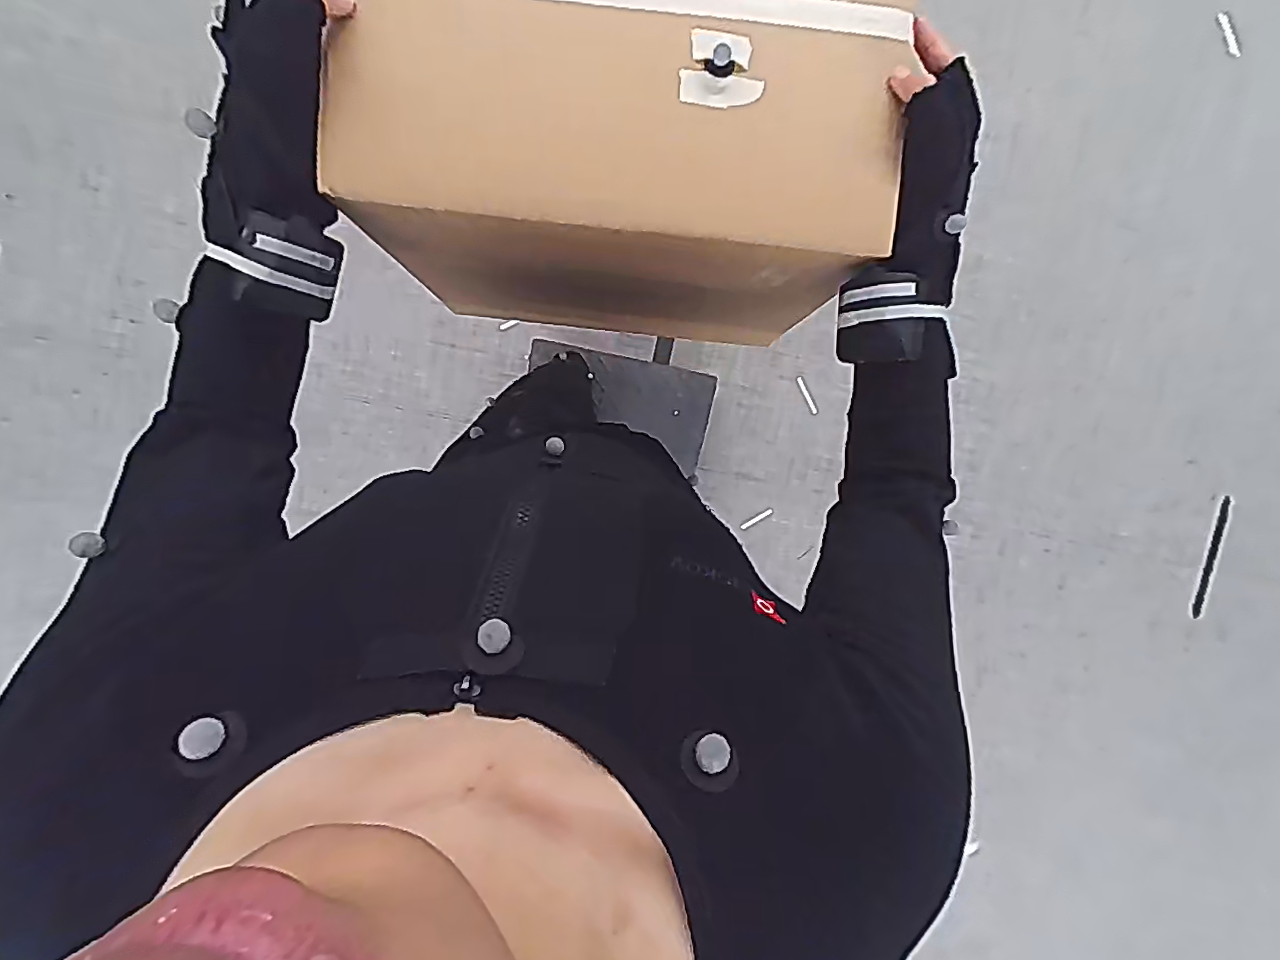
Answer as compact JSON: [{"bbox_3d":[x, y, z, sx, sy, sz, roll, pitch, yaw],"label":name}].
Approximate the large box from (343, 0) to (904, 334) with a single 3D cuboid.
[{"bbox_3d":[-0.014,-0.348,0.539,0.408,0.320,0.320,5,92,-3],"label":"large box"}]
